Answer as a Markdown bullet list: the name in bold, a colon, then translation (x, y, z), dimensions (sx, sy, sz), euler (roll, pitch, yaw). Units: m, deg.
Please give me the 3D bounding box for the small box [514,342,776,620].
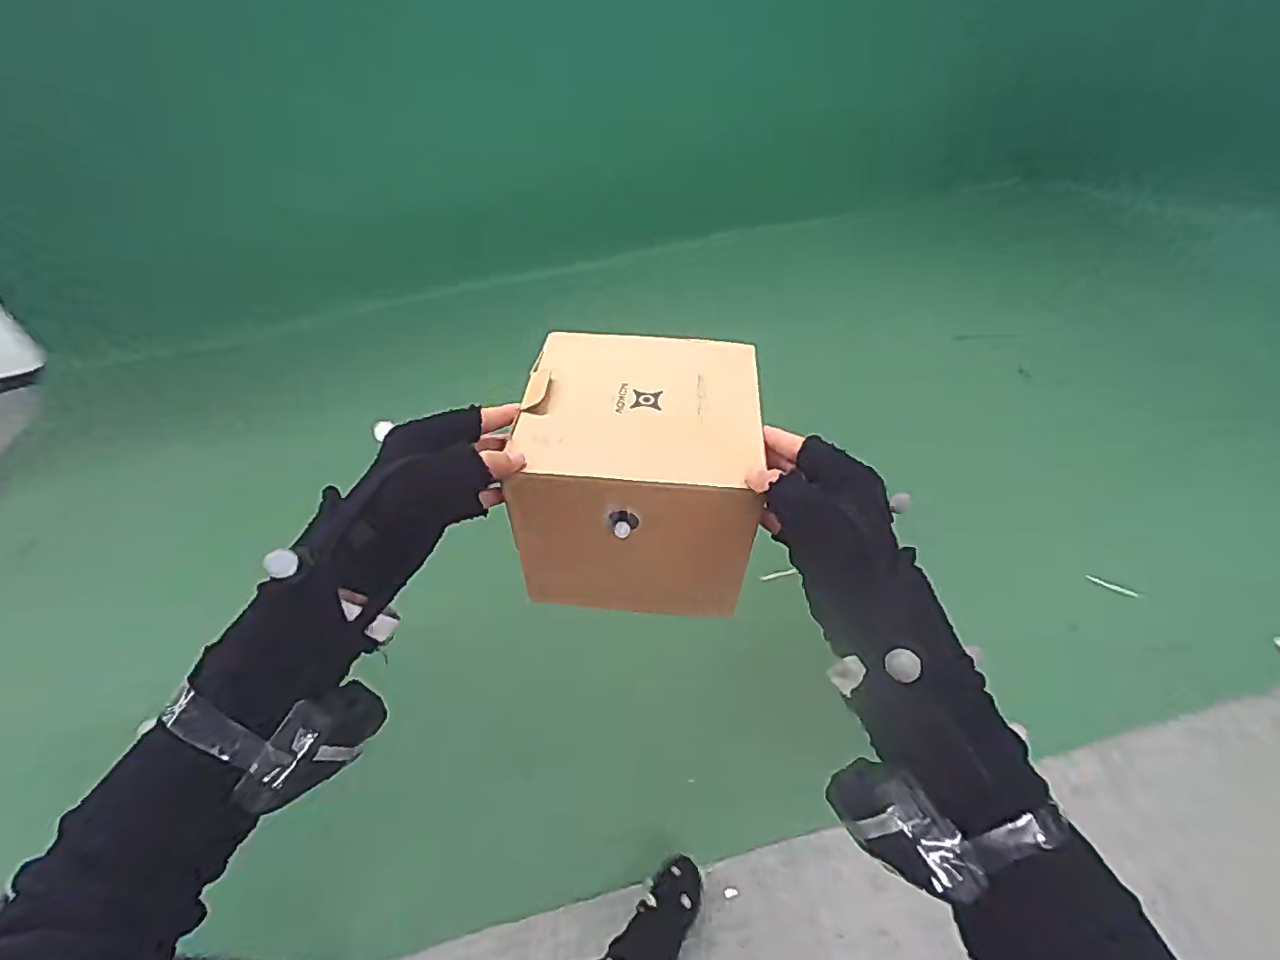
- **small box**: translation (0.009, 0.003, 0.463), dimensions (0.179, 0.176, 0.168), euler (6, 47, 3)
